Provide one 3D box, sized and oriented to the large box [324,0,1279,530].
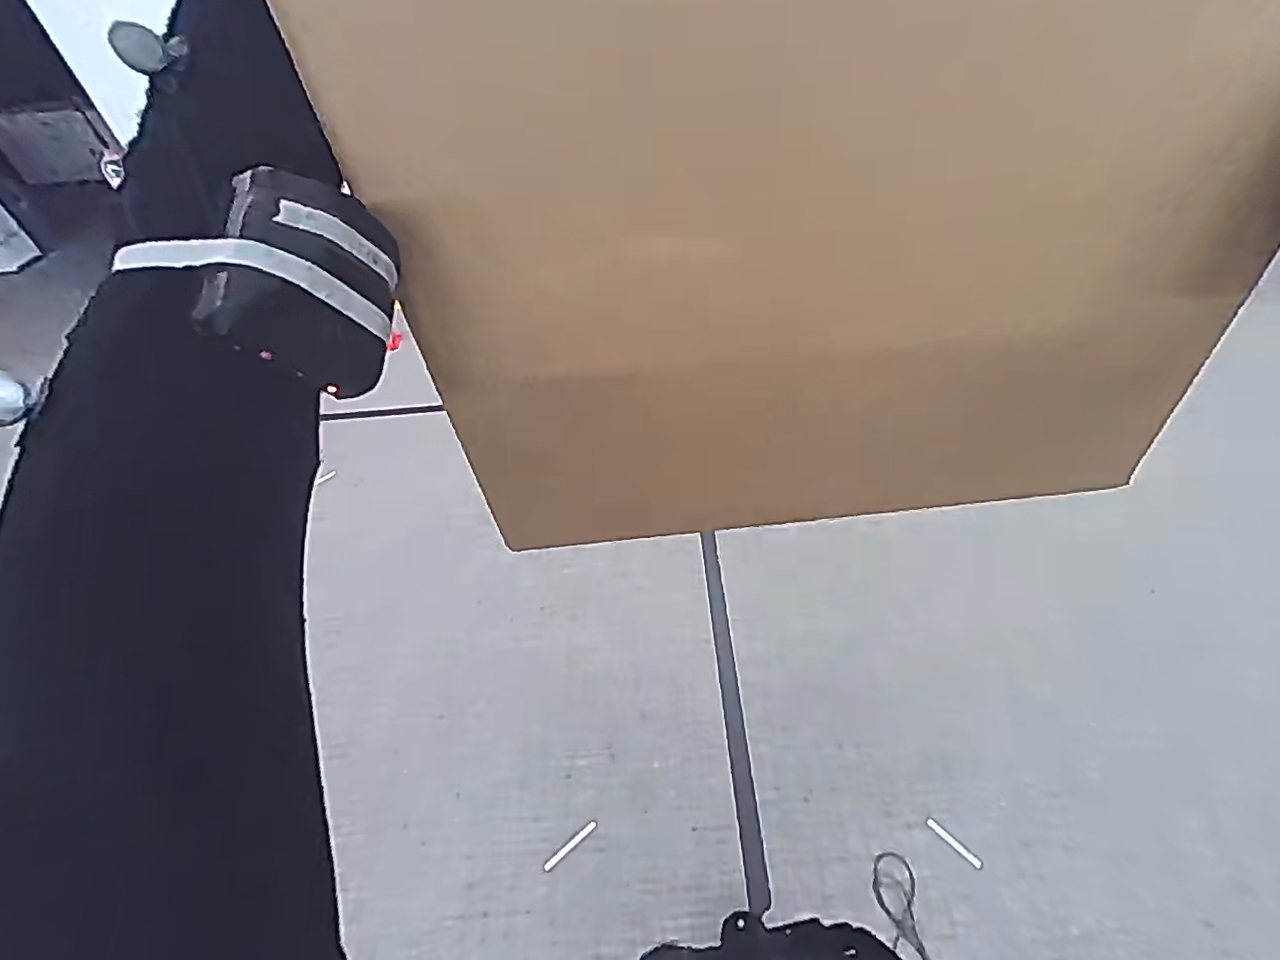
[{"bbox_3d":[0.085,-0.194,0.384,0.408,0.320,0.320,-6,42,2],"label":"large box"}]
